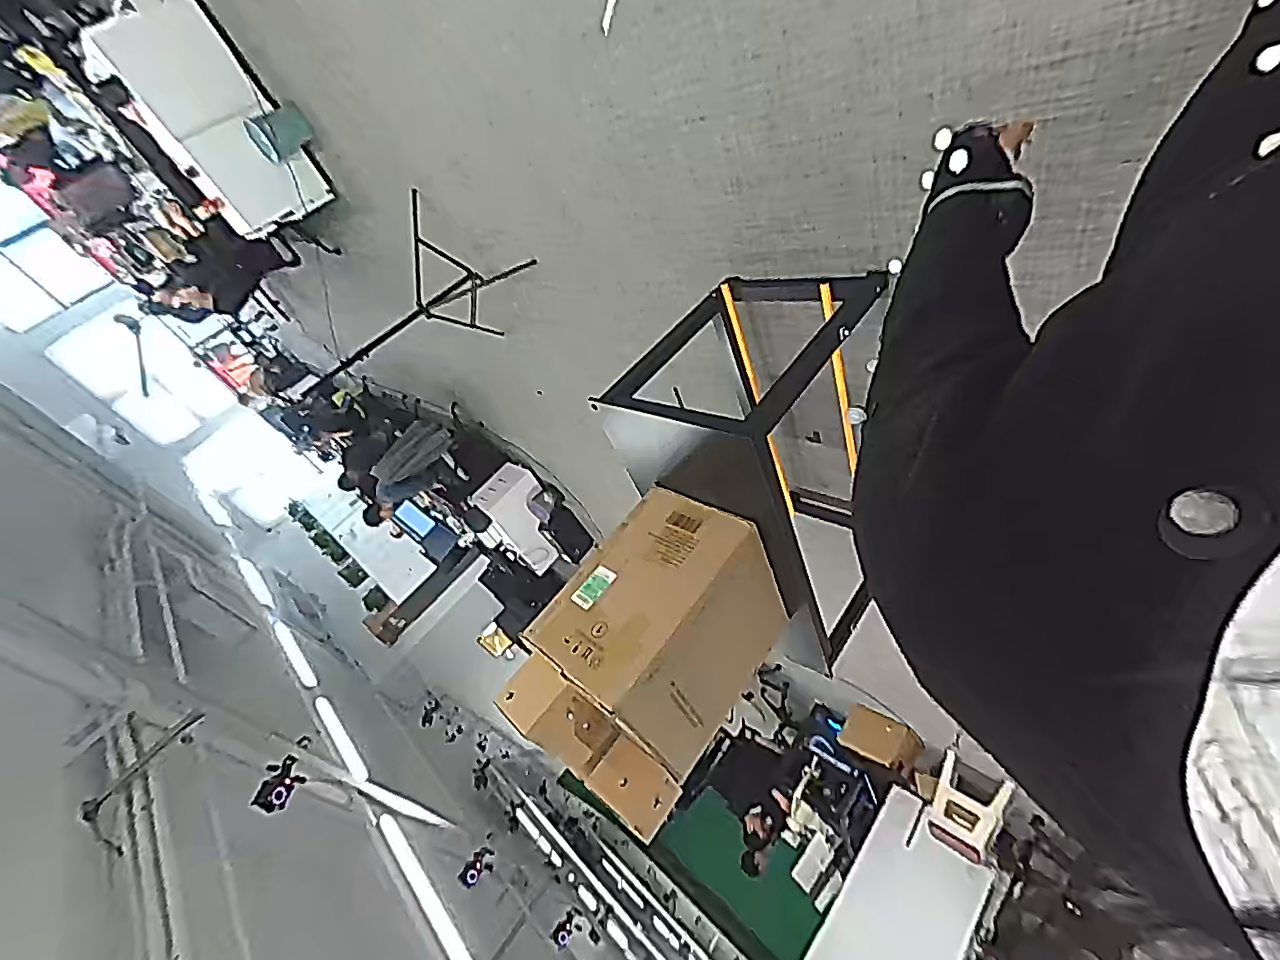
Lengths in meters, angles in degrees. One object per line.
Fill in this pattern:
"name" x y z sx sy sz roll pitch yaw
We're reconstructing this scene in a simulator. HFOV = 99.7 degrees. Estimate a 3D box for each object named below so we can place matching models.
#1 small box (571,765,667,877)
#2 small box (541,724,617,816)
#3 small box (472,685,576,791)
"small box" -0.048 0.917 1.466 0.179 0.176 0.168 13 141 44
"small box" -0.188 0.871 1.610 0.168 0.176 0.179 21 149 42
"small box" -0.302 0.673 1.435 0.179 0.176 0.168 21 151 44
